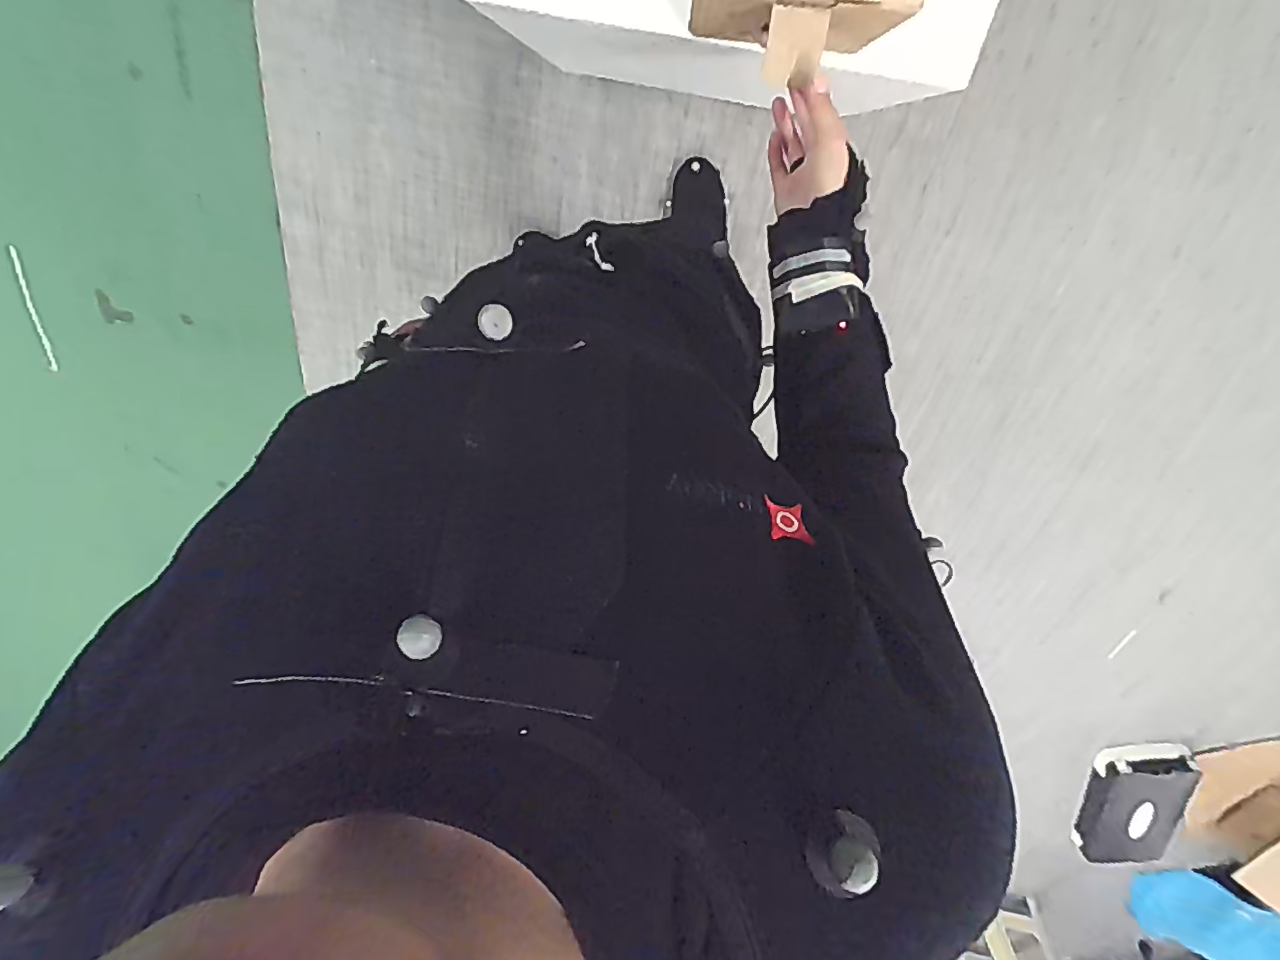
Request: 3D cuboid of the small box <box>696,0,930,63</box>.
[{"bbox_3d":[0.137,-0.452,0.416,0.168,0.176,0.179,7,120,0],"label":"small box"}]
